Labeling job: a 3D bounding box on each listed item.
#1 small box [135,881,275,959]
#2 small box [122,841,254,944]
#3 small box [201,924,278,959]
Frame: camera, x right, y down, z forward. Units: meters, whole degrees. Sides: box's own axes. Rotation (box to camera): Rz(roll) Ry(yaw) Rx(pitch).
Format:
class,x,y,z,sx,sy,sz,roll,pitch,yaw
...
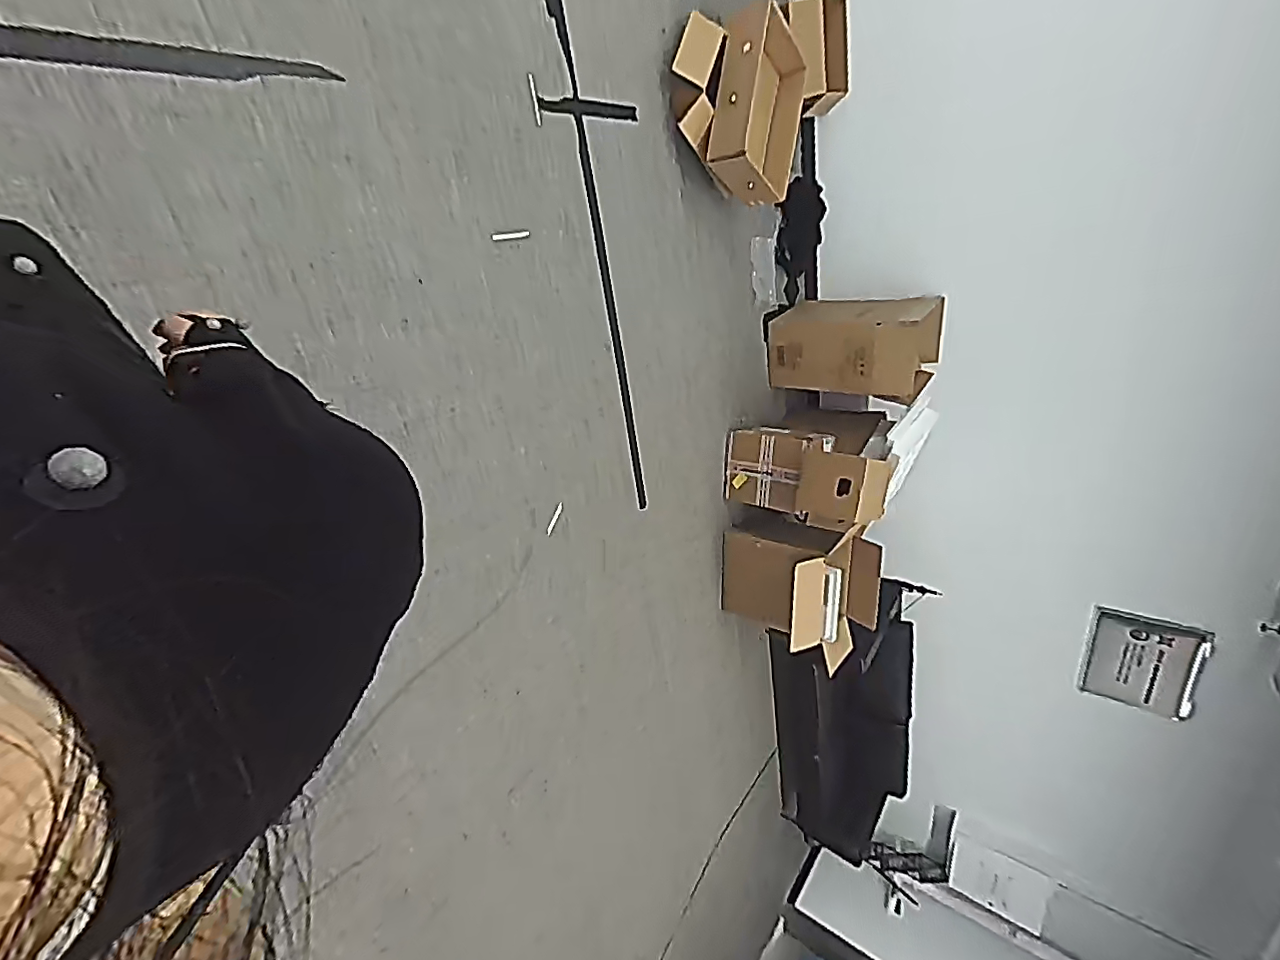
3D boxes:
class,x,y,z,sx,sy,sz,roll,pitch,yaw
small box,-0.934,1.018,1.164,0.168,0.176,0.179,-36,126,-40
small box,-1.058,0.993,1.265,0.168,0.176,0.179,-36,125,-41
small box,-0.811,1.046,1.061,0.179,0.176,0.168,-36,124,-40
